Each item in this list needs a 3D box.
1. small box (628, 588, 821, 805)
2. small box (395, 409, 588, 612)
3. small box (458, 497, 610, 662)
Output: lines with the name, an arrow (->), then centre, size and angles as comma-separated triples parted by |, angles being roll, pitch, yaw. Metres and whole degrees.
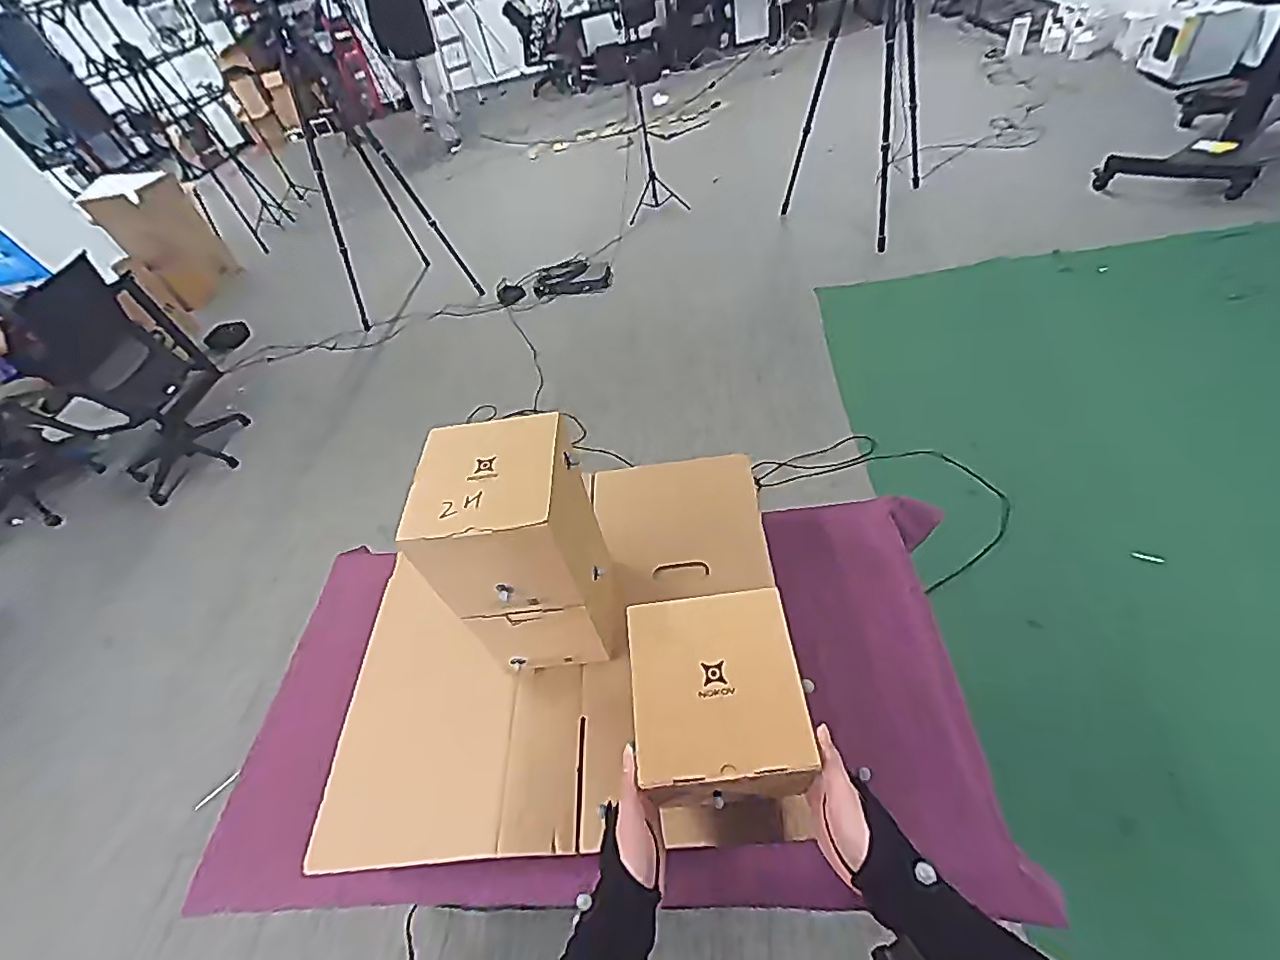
small box -> 0.081, 0.239, 0.588 | 0.168, 0.176, 0.179 | -8, 55, 3
small box -> -0.163, 0.040, 0.661 | 0.168, 0.176, 0.179 | -7, 49, 5
small box -> -0.138, 0.150, 0.780 | 0.168, 0.176, 0.179 | -6, 47, 5
